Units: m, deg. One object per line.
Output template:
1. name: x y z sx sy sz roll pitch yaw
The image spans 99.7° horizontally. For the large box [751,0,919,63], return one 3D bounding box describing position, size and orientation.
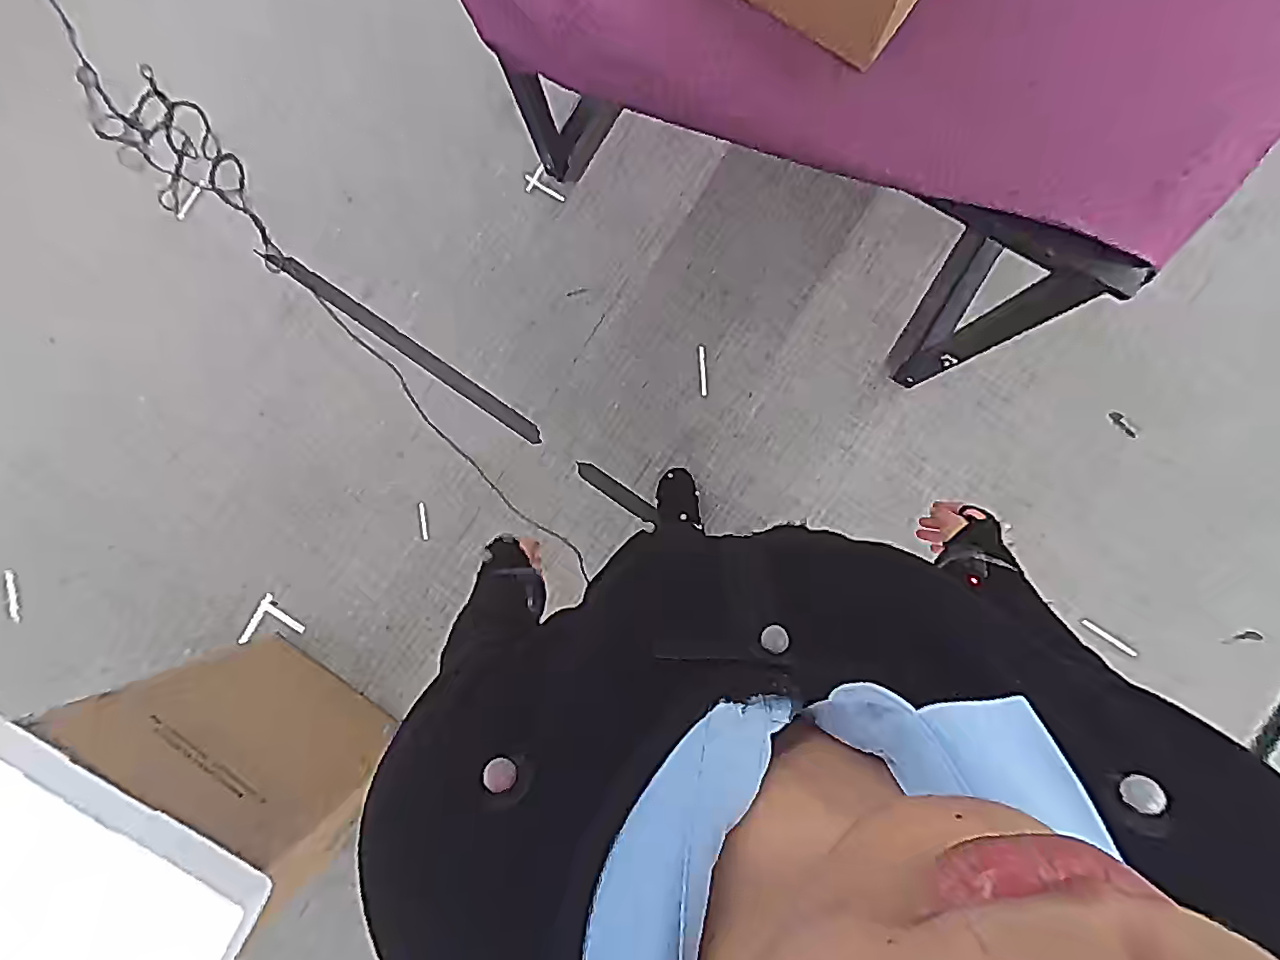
1. large box: 0.236 -0.817 0.631 0.408 0.320 0.320 34 89 6
